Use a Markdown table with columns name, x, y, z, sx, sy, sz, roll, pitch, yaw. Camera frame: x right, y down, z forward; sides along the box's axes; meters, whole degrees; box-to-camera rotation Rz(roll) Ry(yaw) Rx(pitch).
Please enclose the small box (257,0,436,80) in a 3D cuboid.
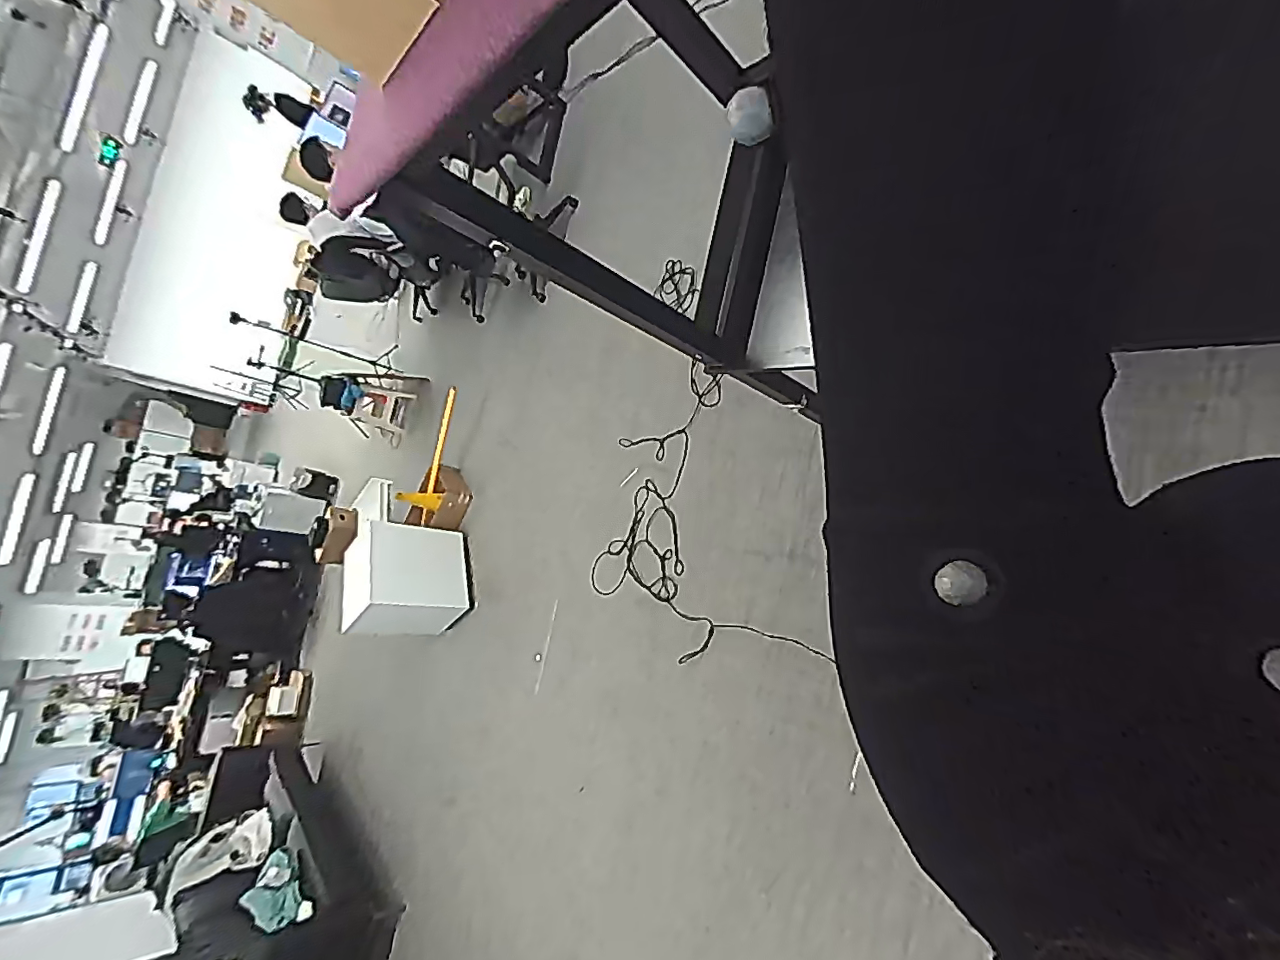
| name | x | y | z | sx | sy | sz | roll | pitch | yaw |
| --- | --- | --- | --- | --- | --- | --- | --- | --- | --- |
| small box | -0.277 | -0.523 | 0.494 | 0.179 | 0.176 | 0.168 | 8 | 86 | 48 |
